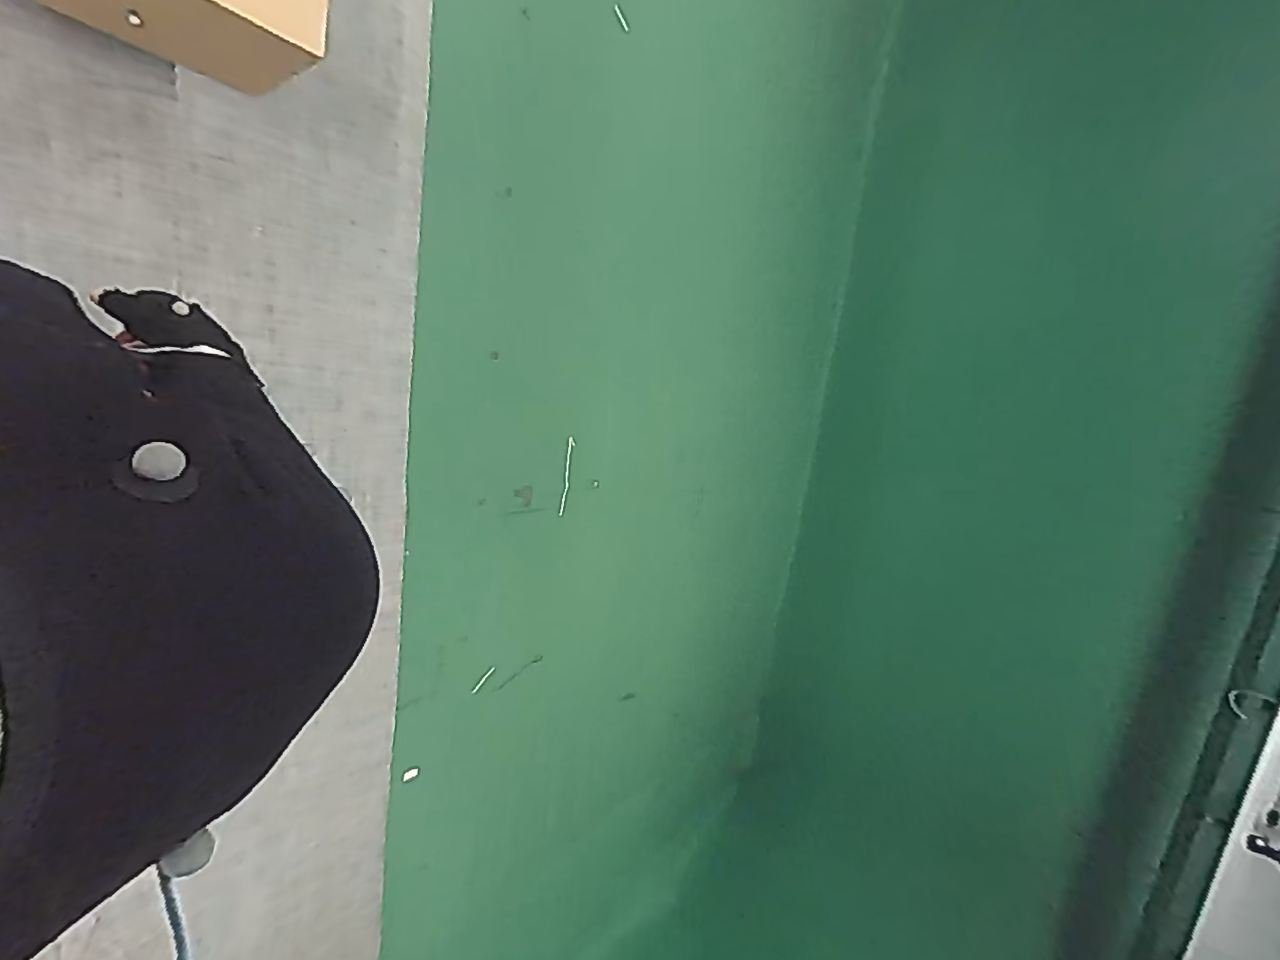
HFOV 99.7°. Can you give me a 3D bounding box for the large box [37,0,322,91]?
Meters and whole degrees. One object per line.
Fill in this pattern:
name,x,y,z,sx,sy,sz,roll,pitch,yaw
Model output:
large box,-0.731,-0.851,0.782,0.408,0.320,0.320,-3,105,-51
